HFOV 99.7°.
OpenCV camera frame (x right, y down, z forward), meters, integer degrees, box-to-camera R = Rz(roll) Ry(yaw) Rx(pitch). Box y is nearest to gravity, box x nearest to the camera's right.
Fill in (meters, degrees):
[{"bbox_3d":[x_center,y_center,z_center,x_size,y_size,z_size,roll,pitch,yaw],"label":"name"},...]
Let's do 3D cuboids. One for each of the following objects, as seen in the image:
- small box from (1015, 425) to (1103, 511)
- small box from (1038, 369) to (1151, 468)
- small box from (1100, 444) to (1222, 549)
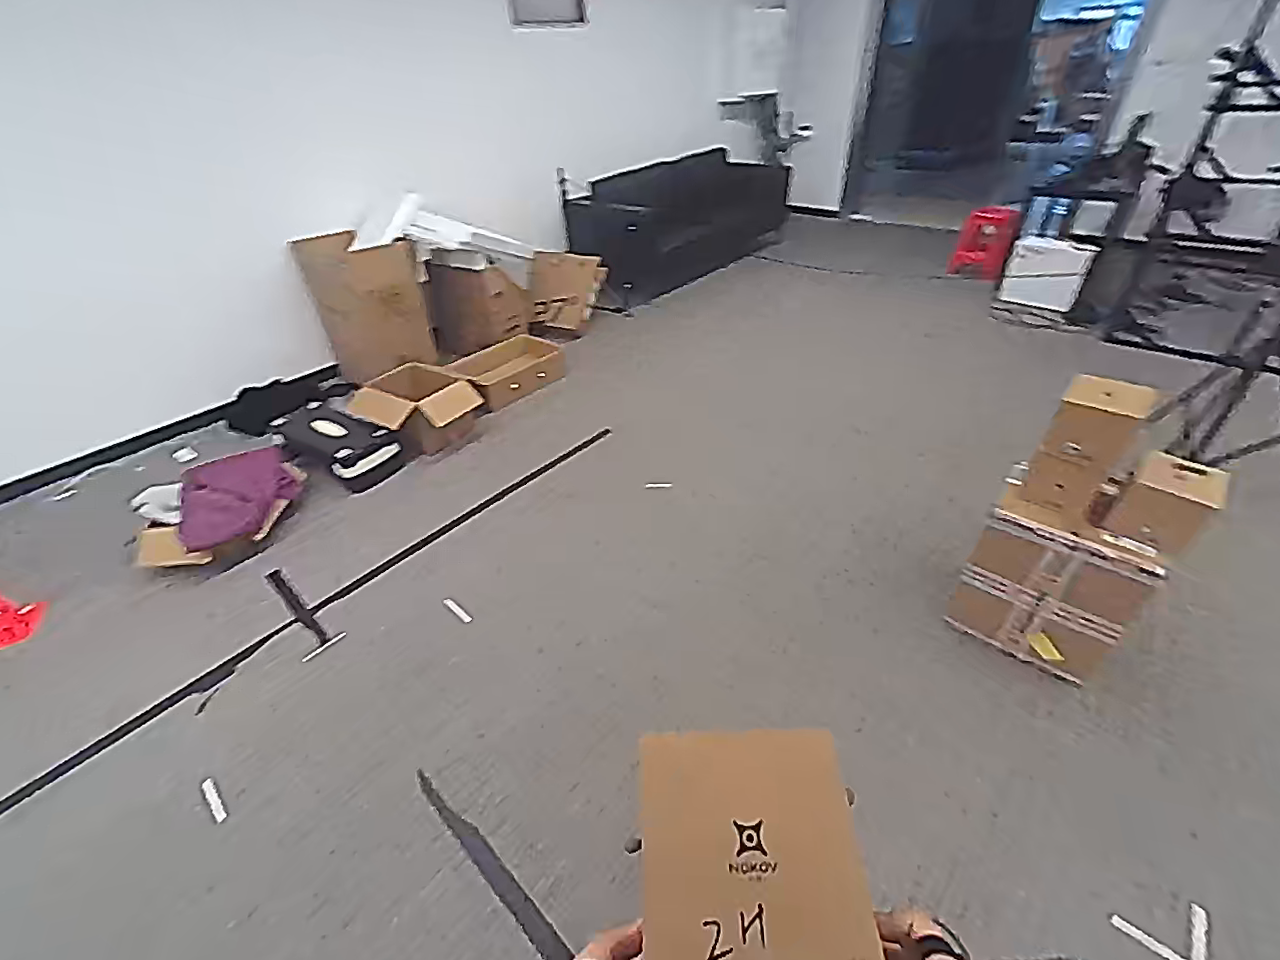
[{"bbox_3d":[1.181,-0.040,1.510,0.168,0.176,0.179,27,50,37],"label":"small box"},{"bbox_3d":[1.169,-0.161,1.401,0.168,0.176,0.179,27,50,37],"label":"small box"},{"bbox_3d":[1.333,0.042,1.391,0.168,0.176,0.179,29,50,34],"label":"small box"}]
